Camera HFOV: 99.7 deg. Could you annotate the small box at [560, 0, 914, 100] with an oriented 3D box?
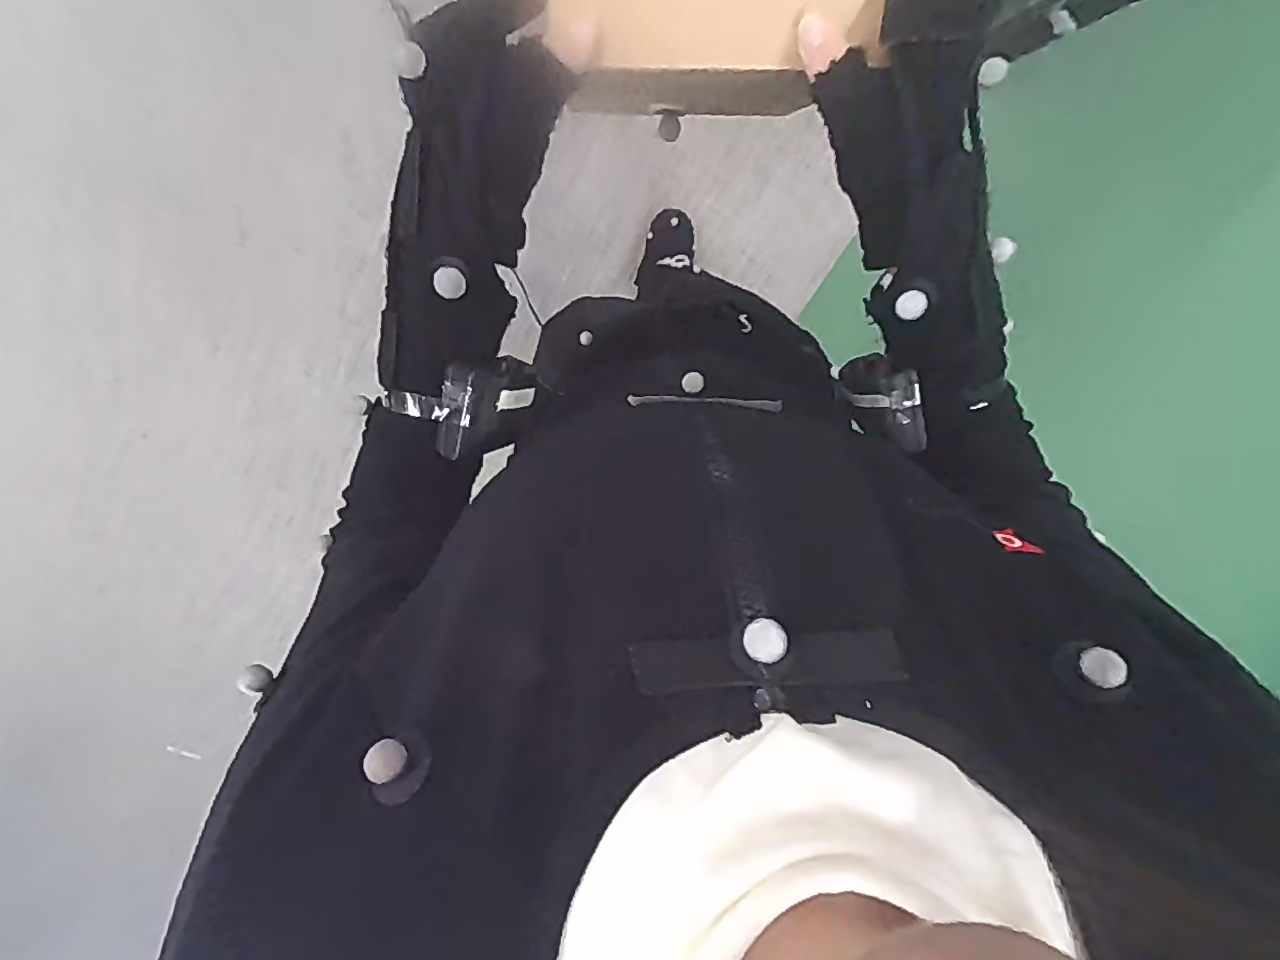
[{"bbox_3d":[0.039,-0.321,0.283,0.168,0.176,0.179,-3,118,-1],"label":"small box"}]
